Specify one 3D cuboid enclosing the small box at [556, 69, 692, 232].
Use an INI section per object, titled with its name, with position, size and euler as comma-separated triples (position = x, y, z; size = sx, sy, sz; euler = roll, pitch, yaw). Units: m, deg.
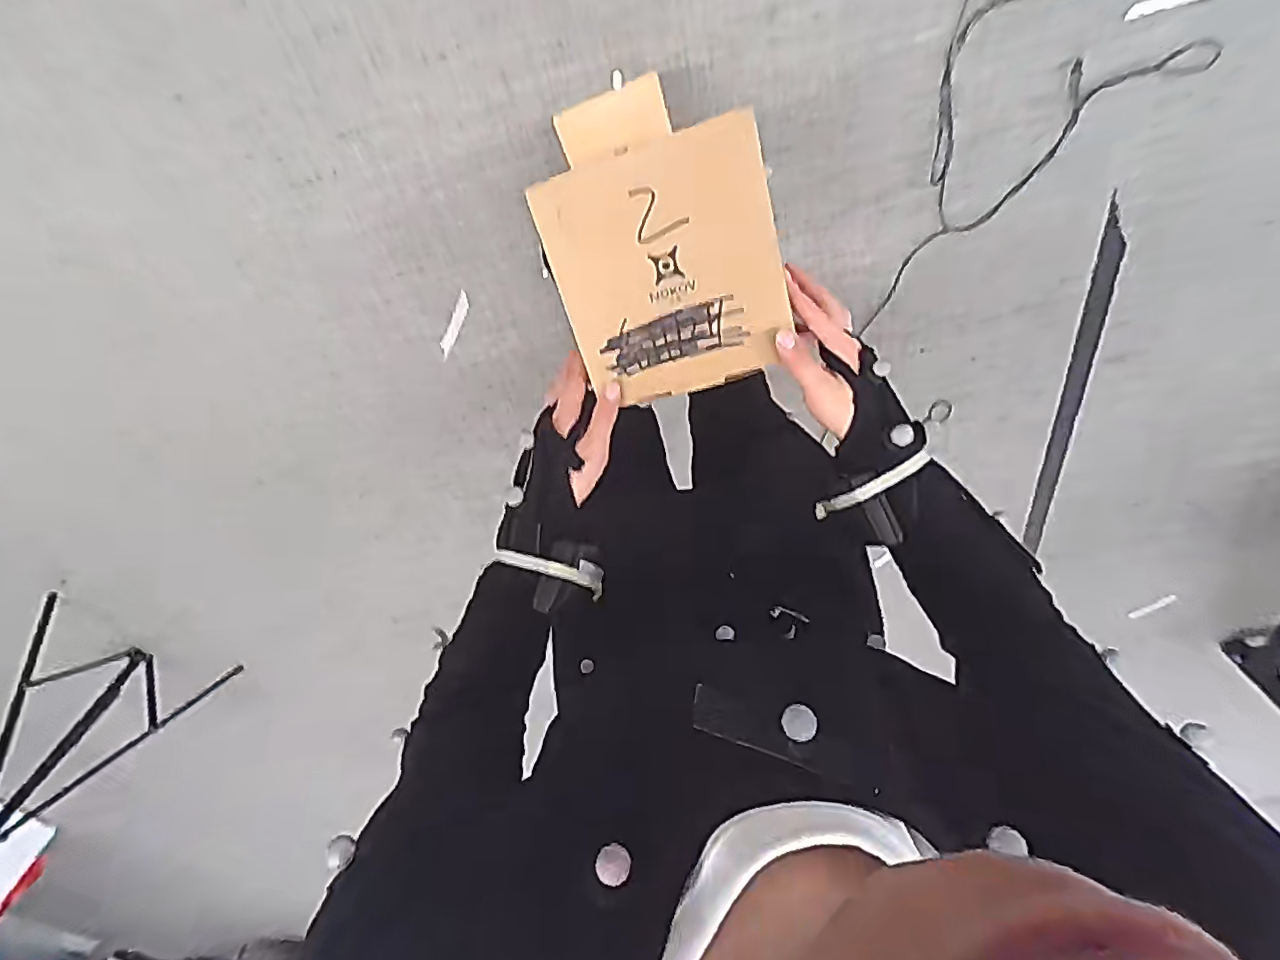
[small box]
position = -0.022, -0.541, 0.888
size = 0.168, 0.176, 0.179
euler = -16, 126, 13
